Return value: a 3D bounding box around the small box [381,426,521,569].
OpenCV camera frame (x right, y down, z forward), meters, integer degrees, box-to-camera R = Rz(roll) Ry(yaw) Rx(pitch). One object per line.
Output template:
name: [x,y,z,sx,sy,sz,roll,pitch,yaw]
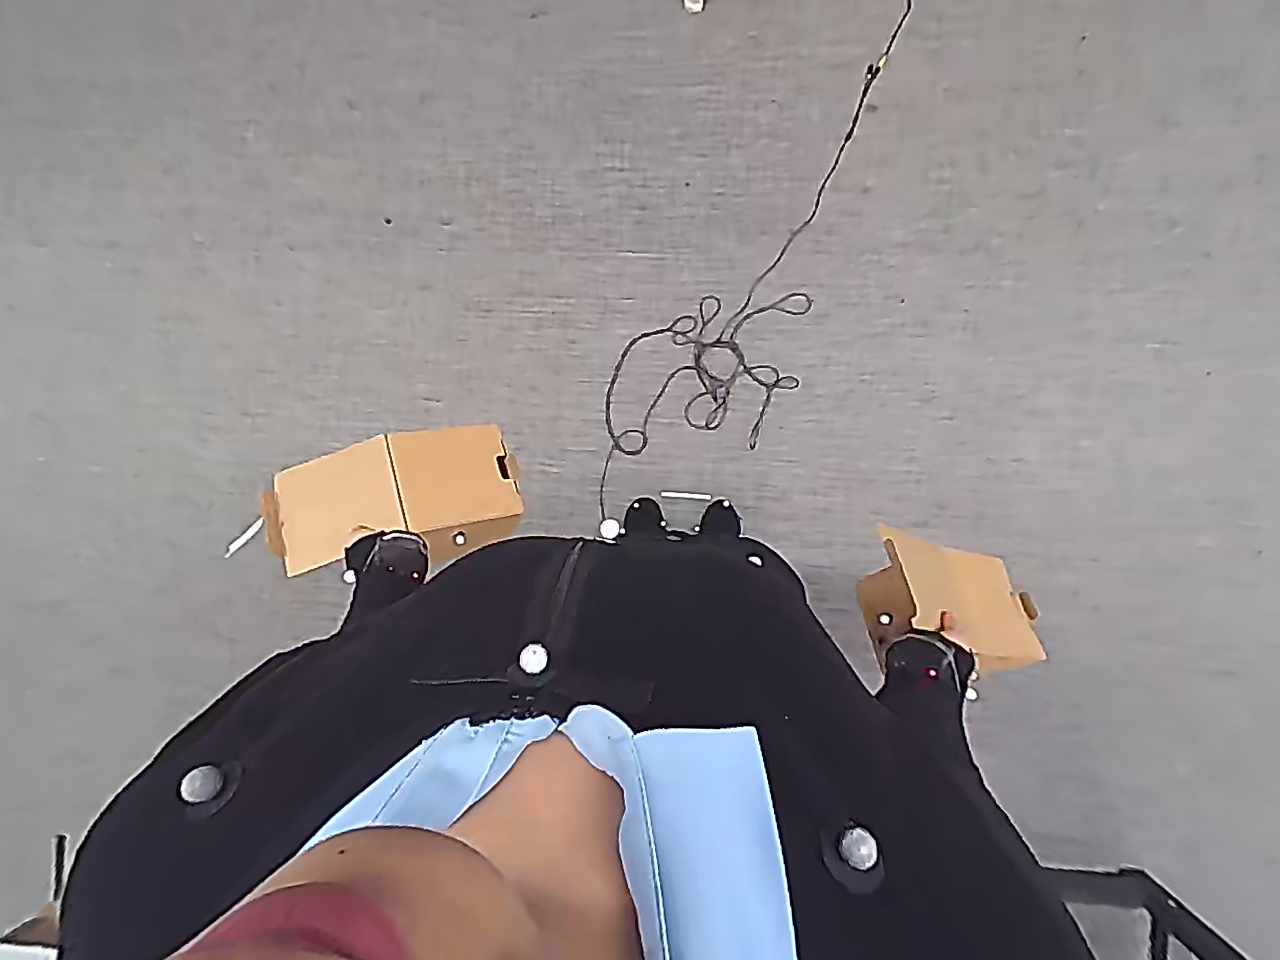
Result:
small box: [-0.314,0.031,0.877,0.179,0.176,0.168,-9,67,-32]
